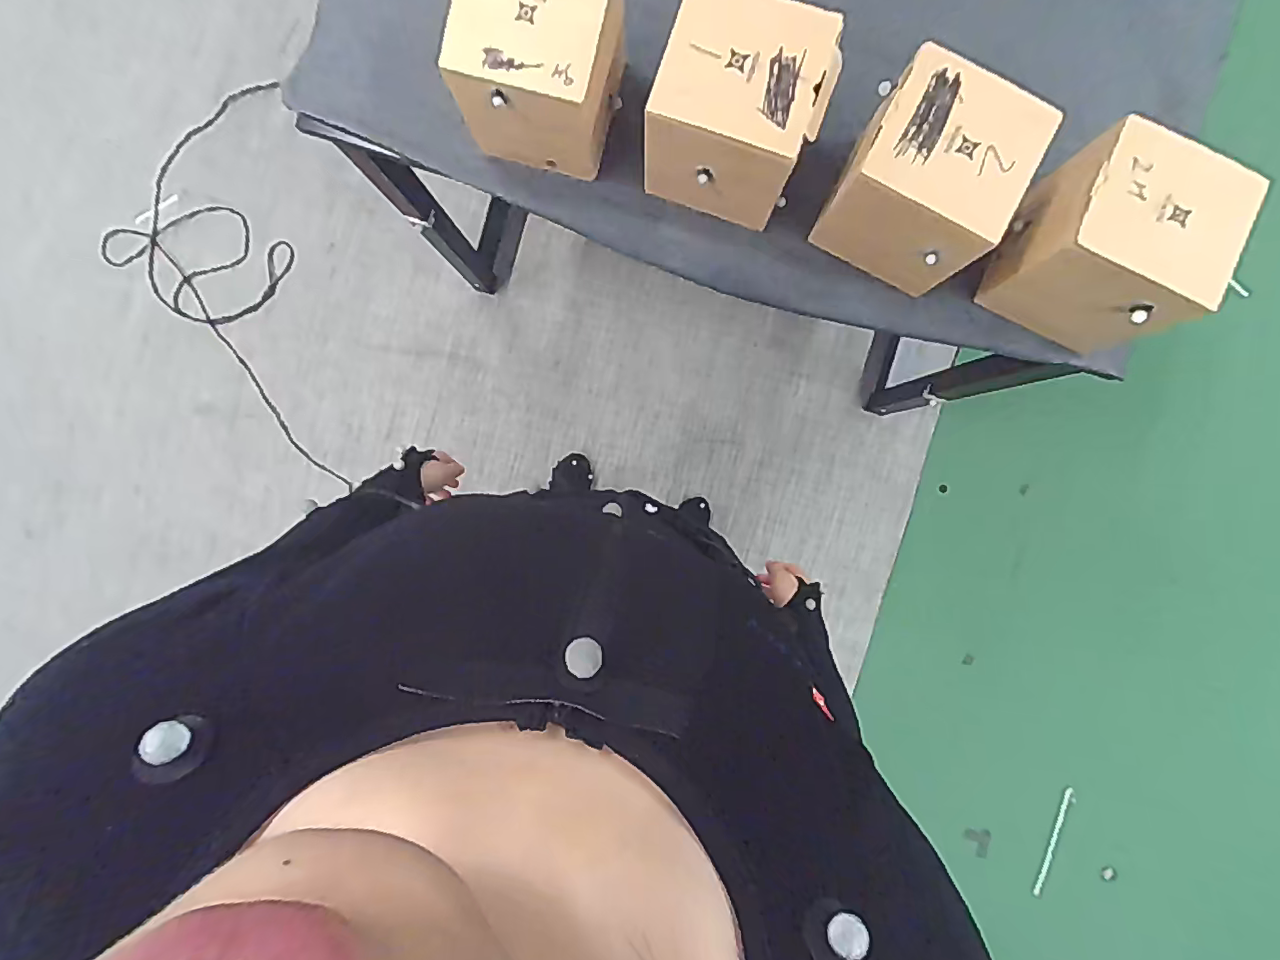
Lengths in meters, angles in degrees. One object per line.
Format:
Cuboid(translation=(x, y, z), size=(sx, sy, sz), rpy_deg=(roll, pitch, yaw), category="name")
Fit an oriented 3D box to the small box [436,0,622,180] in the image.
Cuboid(translation=(-0.121, -0.513, 0.662), size=(0.168, 0.176, 0.179), rpy_deg=(15, 91, 1), category="small box")
